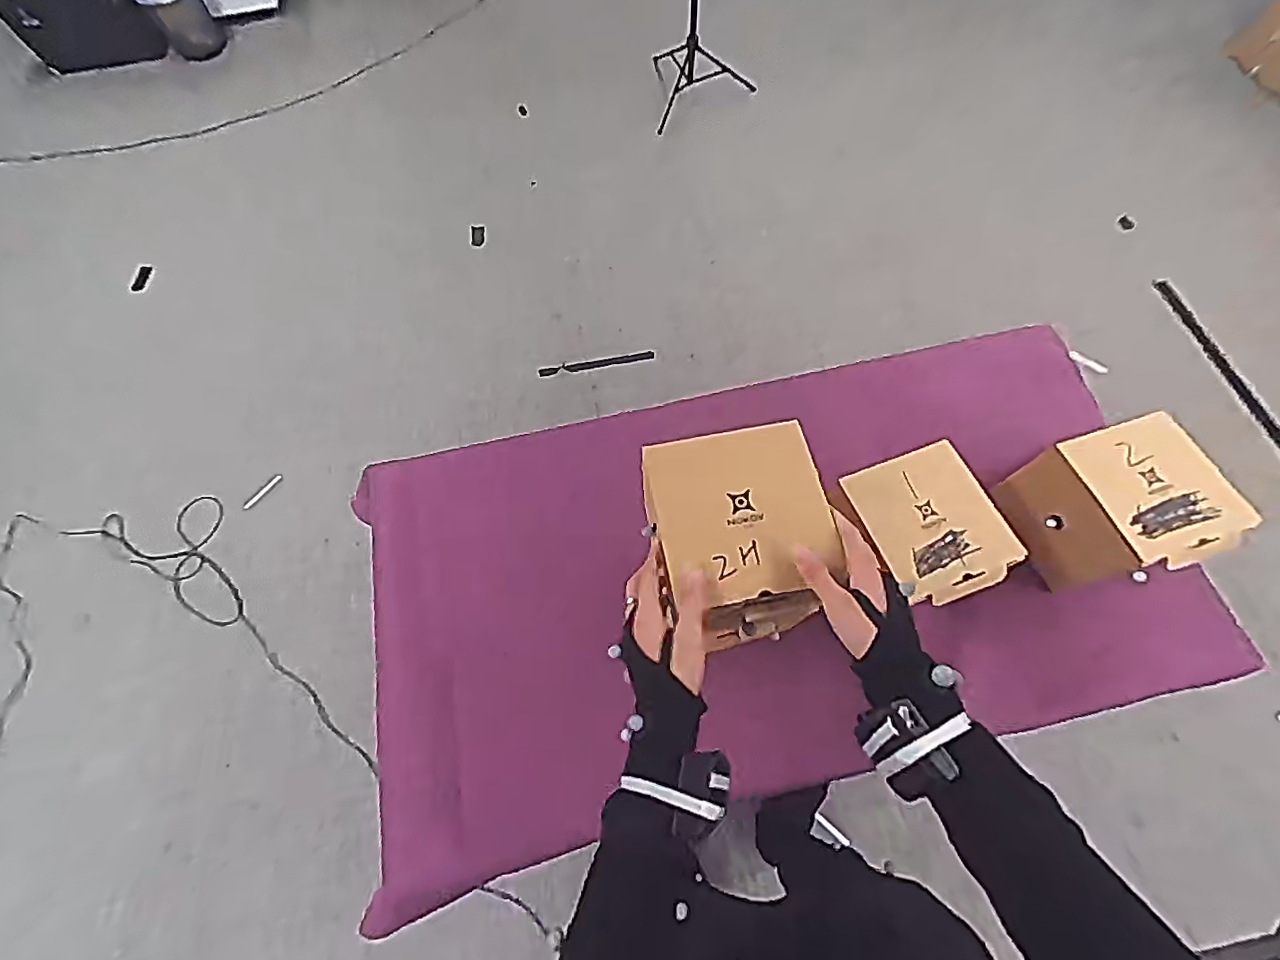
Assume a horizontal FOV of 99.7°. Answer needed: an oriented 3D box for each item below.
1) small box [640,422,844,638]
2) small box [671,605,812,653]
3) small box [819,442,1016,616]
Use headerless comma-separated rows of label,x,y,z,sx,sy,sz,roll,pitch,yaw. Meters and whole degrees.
small box,0.094,0.062,0.593,0.168,0.176,0.179,-10,67,-2
small box,0.111,0.131,0.743,0.168,0.176,0.179,-15,67,-4
small box,0.358,0.079,0.753,0.168,0.176,0.179,-20,67,-6
